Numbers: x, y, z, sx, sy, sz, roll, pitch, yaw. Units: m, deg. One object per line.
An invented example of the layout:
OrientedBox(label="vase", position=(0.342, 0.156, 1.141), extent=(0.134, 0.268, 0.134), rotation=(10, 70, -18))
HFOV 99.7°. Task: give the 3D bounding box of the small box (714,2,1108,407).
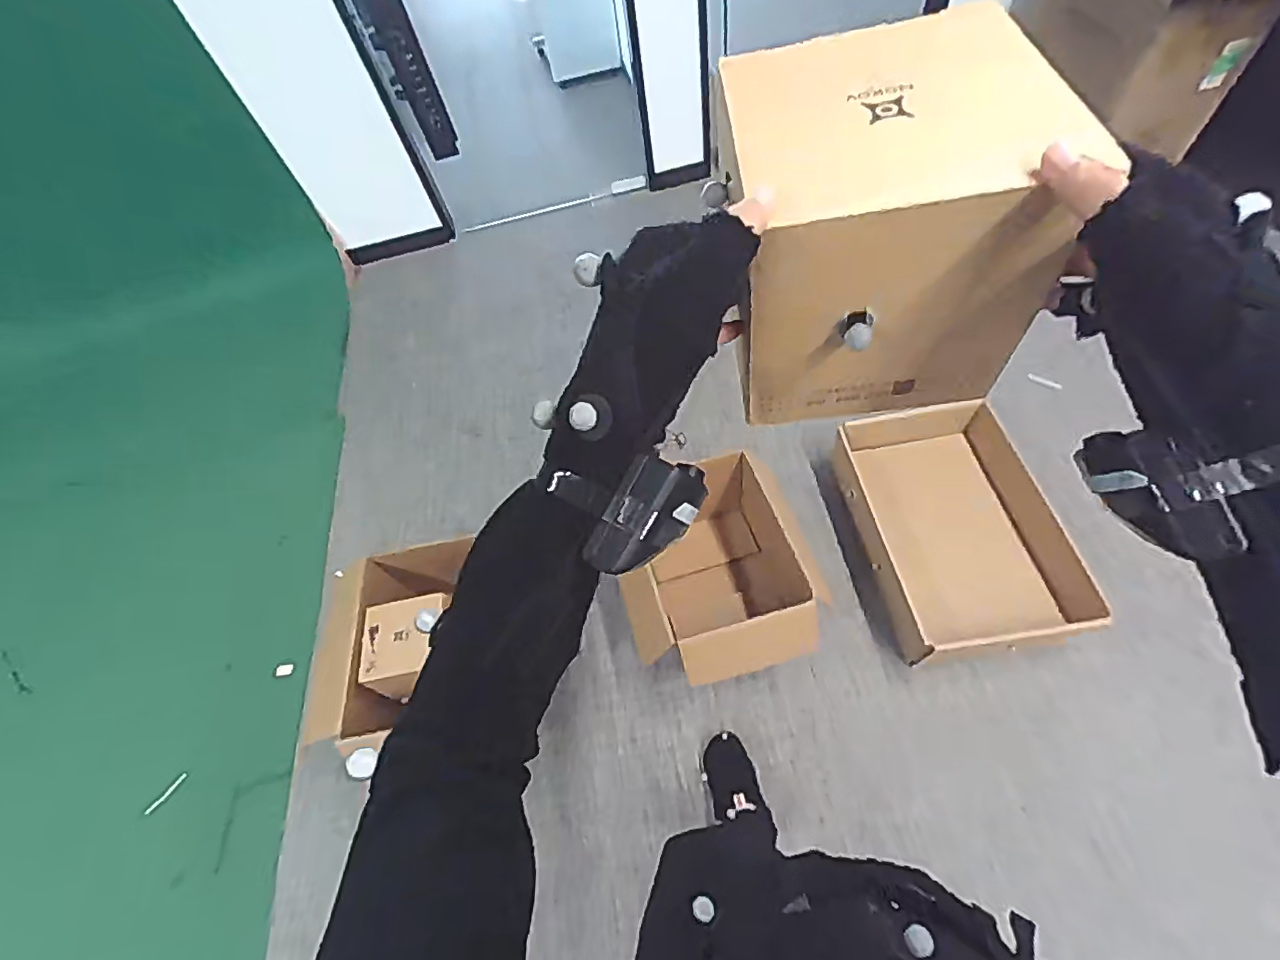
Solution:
OrientedBox(label="small box", position=(0.144, -0.163, 0.362), extent=(0.168, 0.176, 0.179), rotation=(-6, 59, 8))
